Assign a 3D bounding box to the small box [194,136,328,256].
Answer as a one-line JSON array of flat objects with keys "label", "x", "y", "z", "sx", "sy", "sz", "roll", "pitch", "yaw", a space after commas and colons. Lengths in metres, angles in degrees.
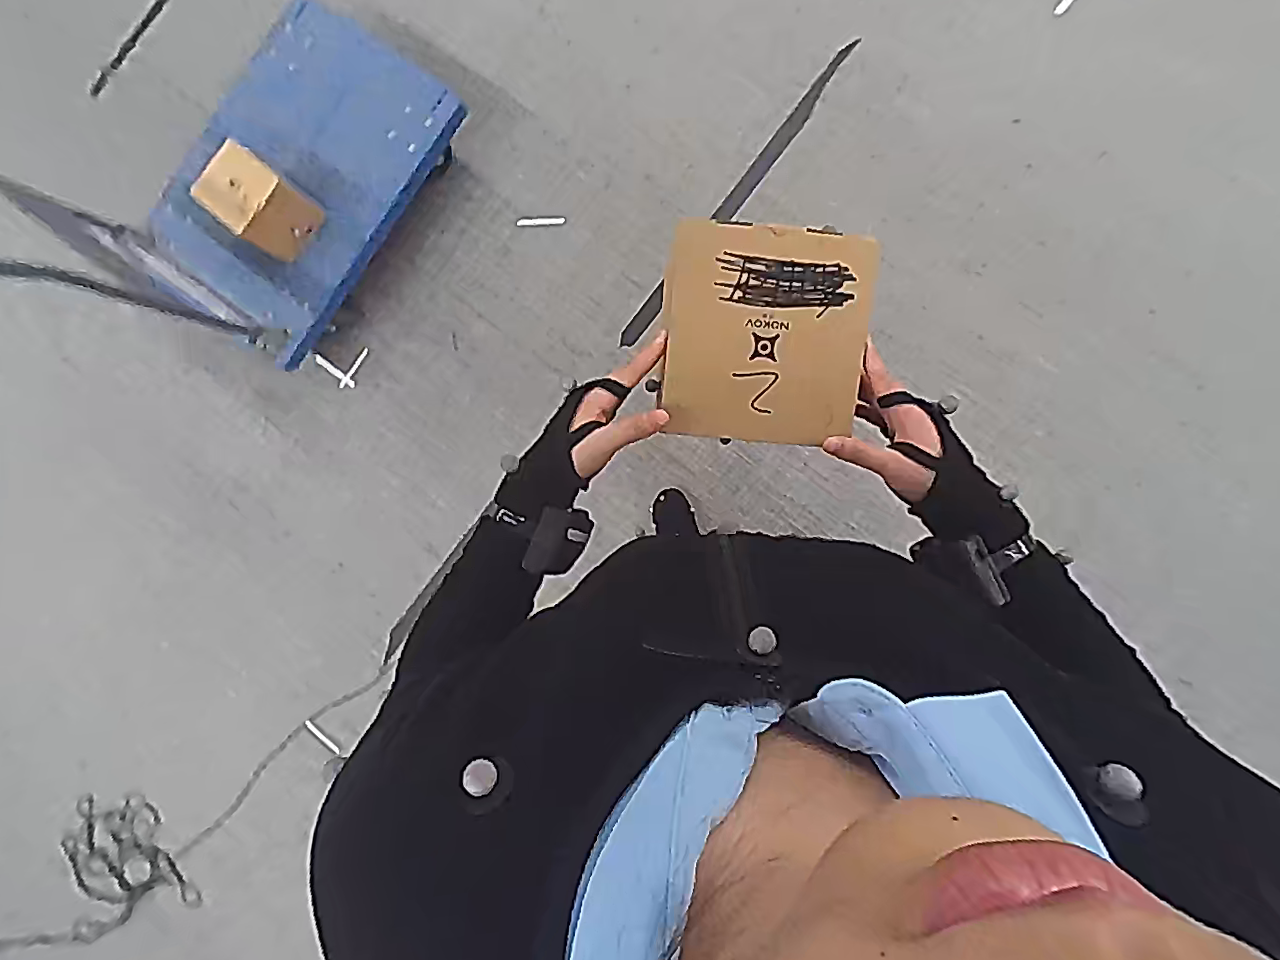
[{"label": "small box", "x": -0.936, "y": -0.696, "z": 1.350, "sx": 0.179, "sy": 0.176, "sz": 0.168, "roll": 40, "pitch": 93, "yaw": 5}]
